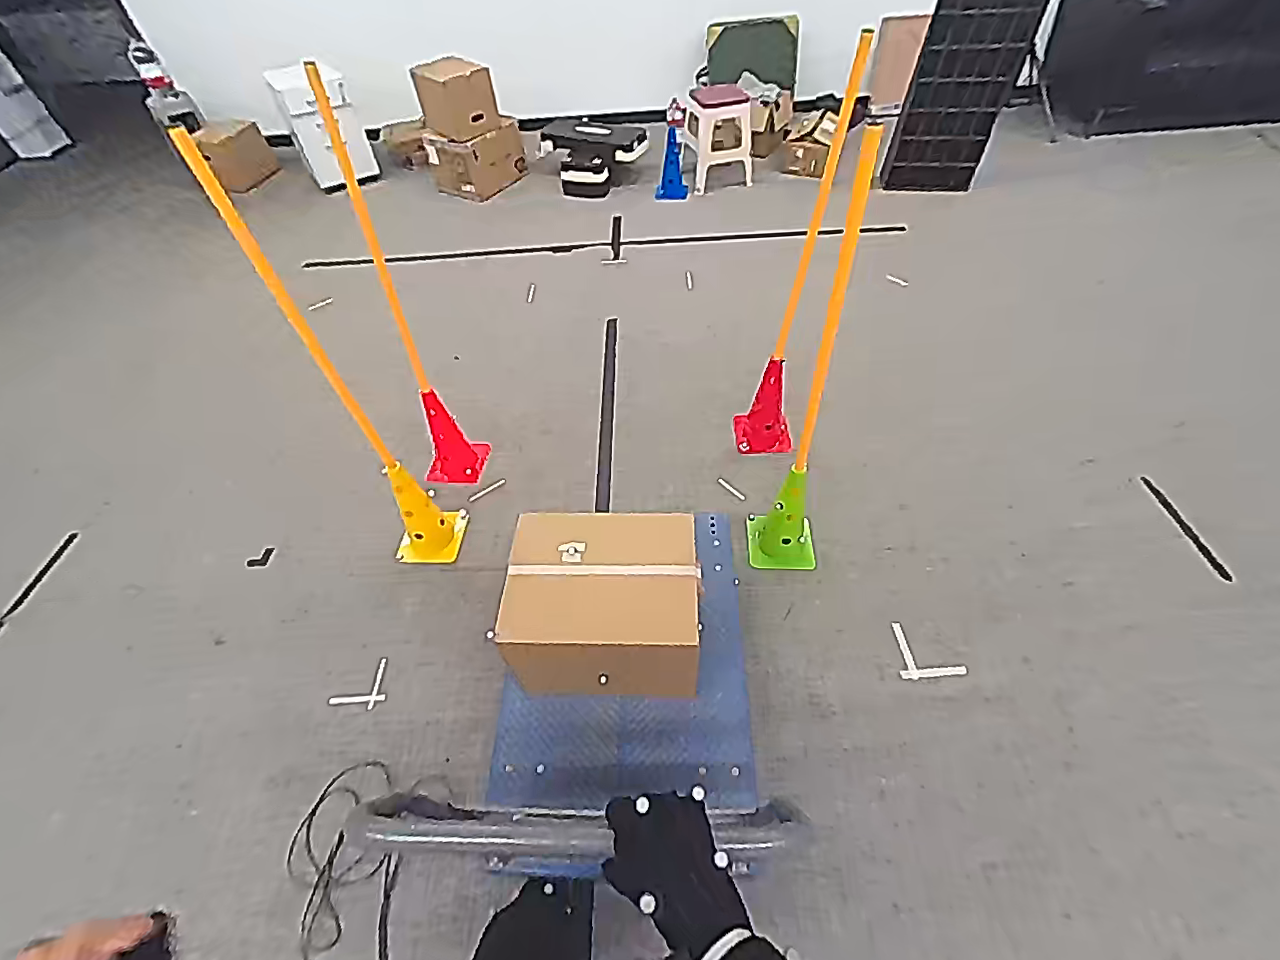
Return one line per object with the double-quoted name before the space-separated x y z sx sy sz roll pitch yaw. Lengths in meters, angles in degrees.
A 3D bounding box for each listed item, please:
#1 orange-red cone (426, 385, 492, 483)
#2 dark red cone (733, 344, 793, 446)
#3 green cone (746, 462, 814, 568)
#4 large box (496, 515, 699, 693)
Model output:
"orange-red cone" -0.673 -0.183 1.882 0.198 0.360 0.199 5 49 6
"dark red cone" 0.455 -0.302 1.891 0.201 0.394 0.202 -1 51 0
"green cone" 0.439 0.082 1.595 0.202 0.368 0.200 2 50 3
"large box" -0.072 0.295 1.260 0.408 0.320 0.320 0 50 4
